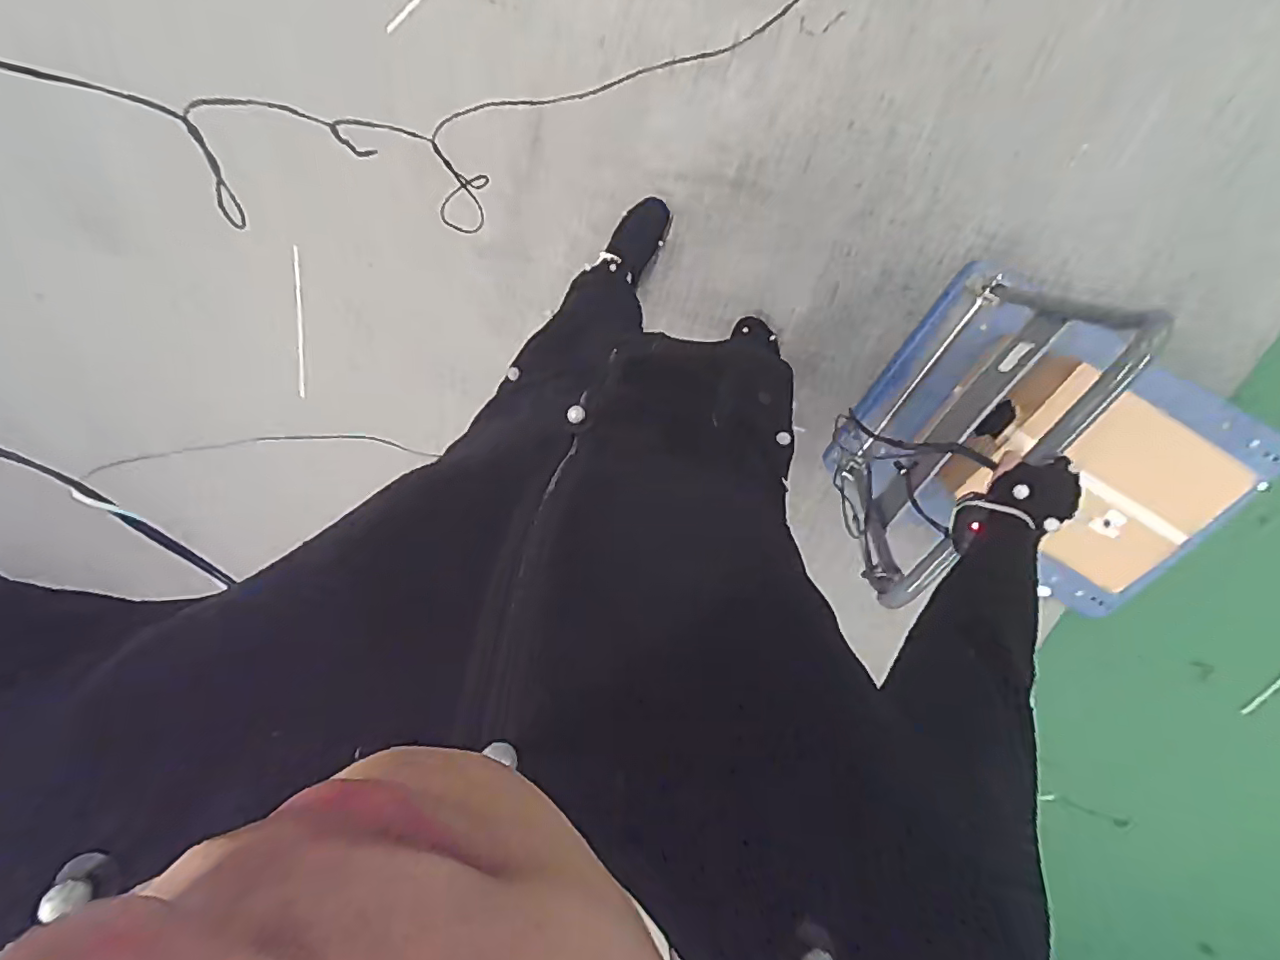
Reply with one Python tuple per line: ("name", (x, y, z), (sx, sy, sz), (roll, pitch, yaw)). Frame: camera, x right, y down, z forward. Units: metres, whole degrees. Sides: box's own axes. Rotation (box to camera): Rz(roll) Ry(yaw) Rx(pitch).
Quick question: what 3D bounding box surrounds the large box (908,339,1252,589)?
("large box", (0.875, -0.050, 1.149), (0.408, 0.320, 0.320), (30, 116, -5))
